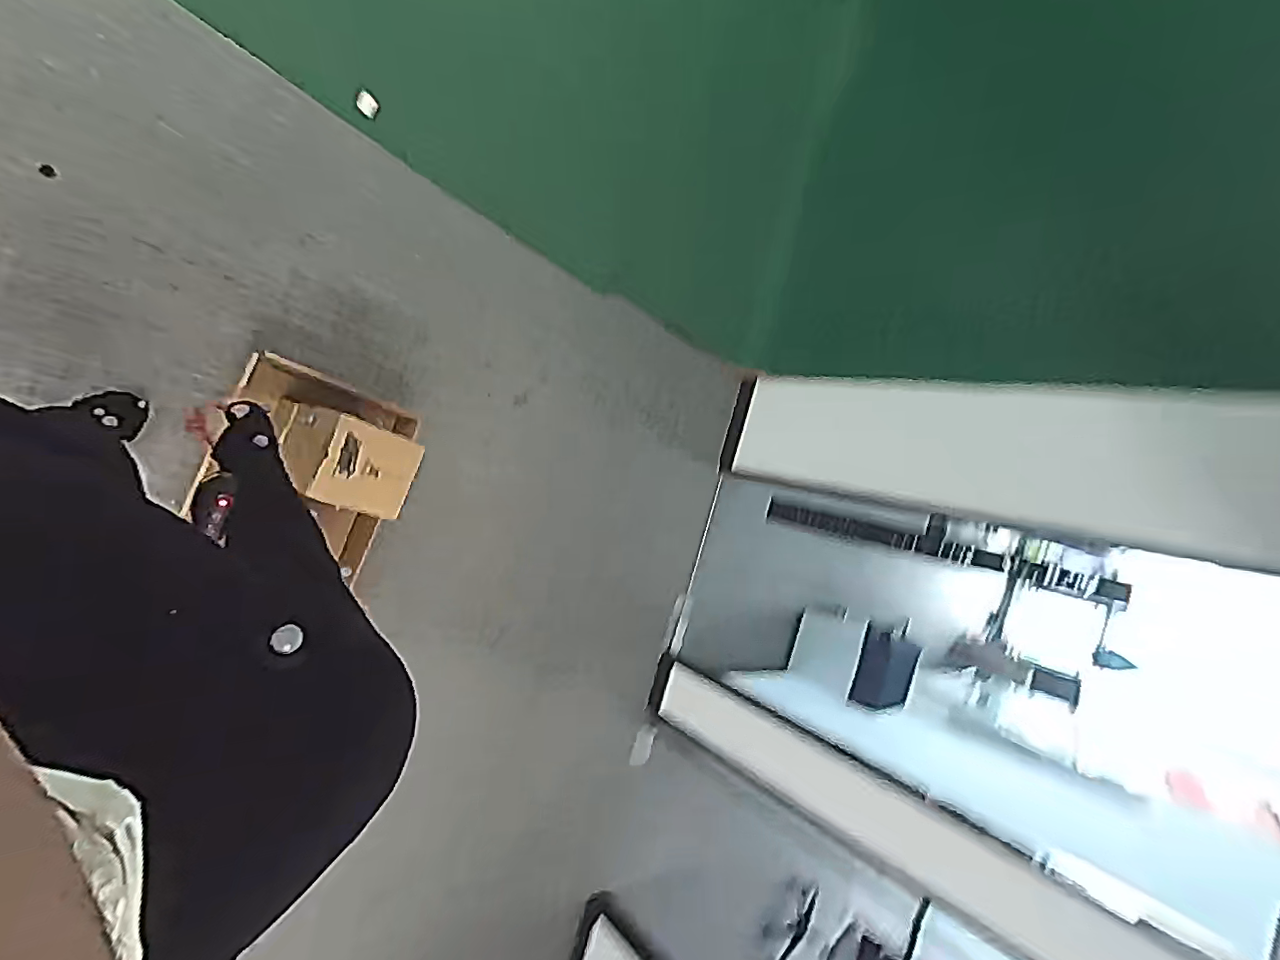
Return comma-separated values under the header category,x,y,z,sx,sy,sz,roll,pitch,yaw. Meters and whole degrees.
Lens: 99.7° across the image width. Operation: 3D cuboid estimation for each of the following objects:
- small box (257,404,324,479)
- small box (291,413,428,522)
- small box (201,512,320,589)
category,x,y,z,sx,sy,sz,roll,pitch,yaw
small box,-0.806,-0.079,1.338,0.179,0.176,0.168,28,81,-45
small box,-0.579,-0.030,1.108,0.179,0.176,0.168,28,81,-46
small box,-0.915,0.187,1.301,0.179,0.176,0.168,28,80,-43
